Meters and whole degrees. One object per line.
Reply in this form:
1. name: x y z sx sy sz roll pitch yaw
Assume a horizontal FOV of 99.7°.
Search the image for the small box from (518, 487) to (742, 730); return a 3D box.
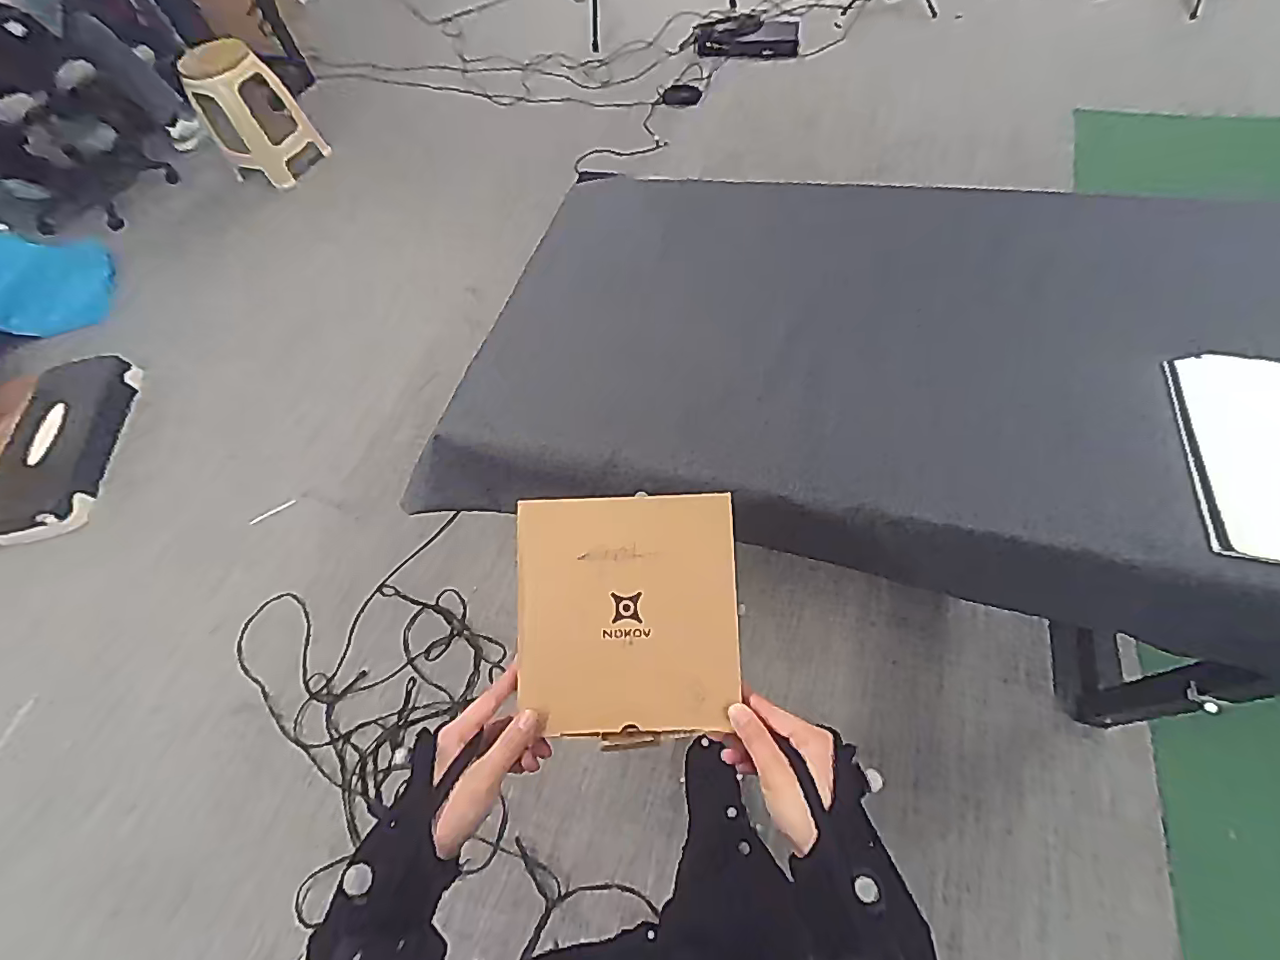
1. small box: -0.007 0.104 0.480 0.168 0.176 0.179 -2 81 0
